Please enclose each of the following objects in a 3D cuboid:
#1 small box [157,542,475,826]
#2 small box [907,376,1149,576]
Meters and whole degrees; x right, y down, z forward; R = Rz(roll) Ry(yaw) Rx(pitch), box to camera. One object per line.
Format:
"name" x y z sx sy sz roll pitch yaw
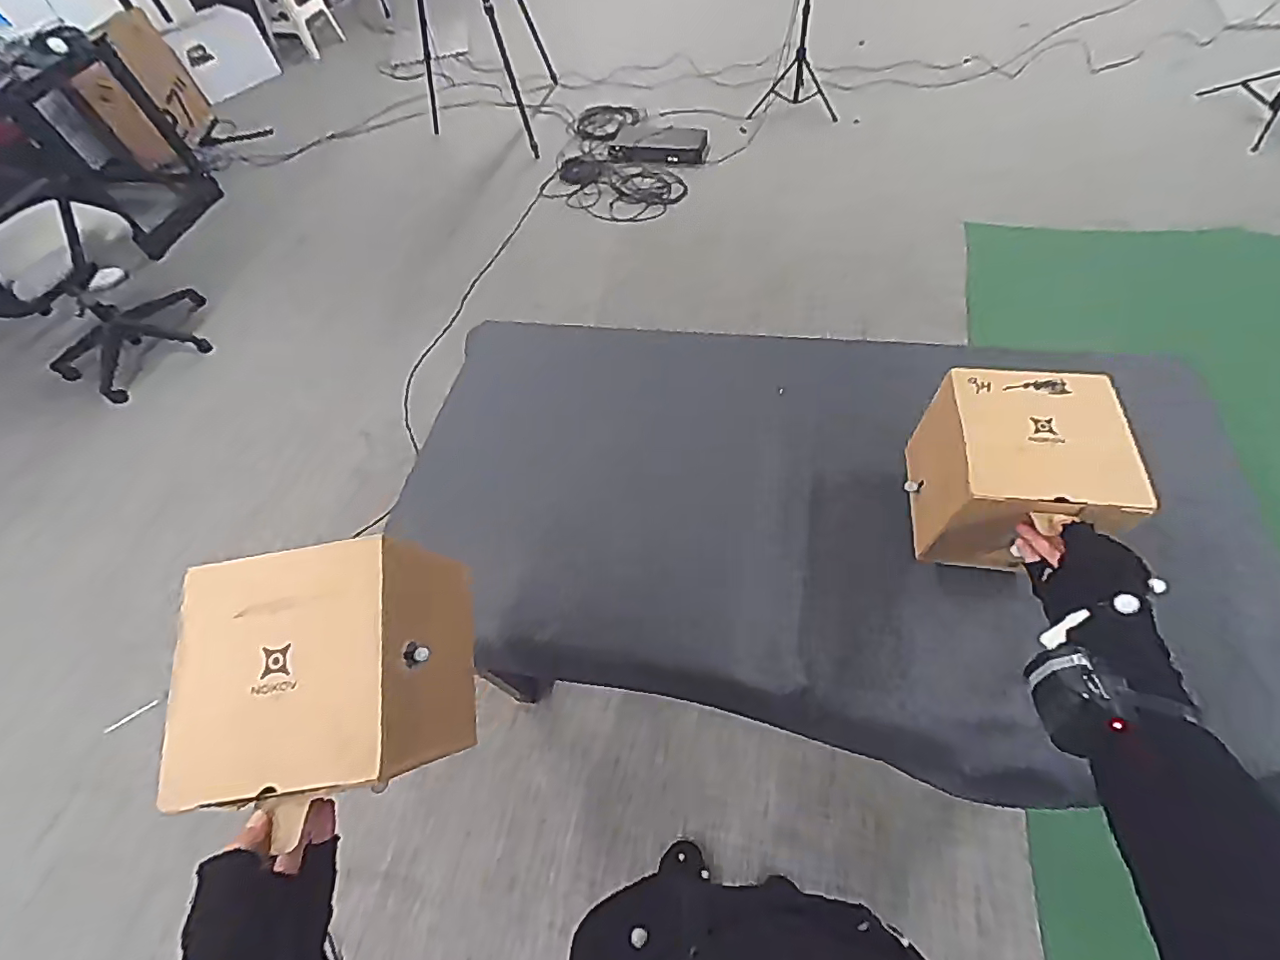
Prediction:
"small box" -0.253 0.166 0.466 0.168 0.176 0.179 -11 70 2
"small box" 0.433 0.001 0.641 0.168 0.176 0.179 5 59 10
